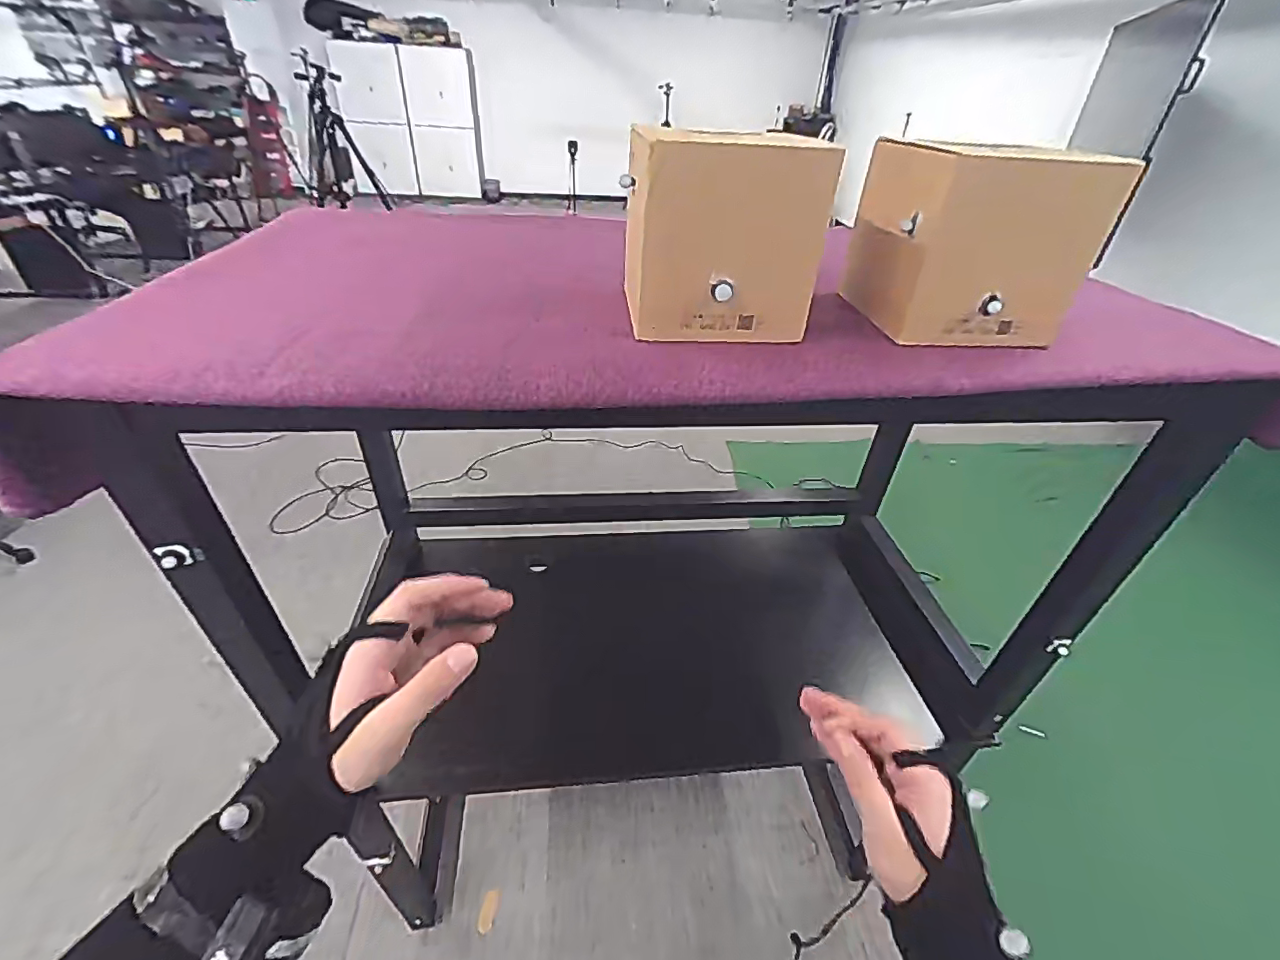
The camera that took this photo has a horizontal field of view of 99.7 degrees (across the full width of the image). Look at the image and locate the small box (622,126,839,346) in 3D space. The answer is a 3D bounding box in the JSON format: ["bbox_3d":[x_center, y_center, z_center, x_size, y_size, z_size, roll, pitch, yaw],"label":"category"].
[{"bbox_3d":[0.070,-0.248,0.546,0.168,0.176,0.179,-1,36,-6],"label":"small box"}]
